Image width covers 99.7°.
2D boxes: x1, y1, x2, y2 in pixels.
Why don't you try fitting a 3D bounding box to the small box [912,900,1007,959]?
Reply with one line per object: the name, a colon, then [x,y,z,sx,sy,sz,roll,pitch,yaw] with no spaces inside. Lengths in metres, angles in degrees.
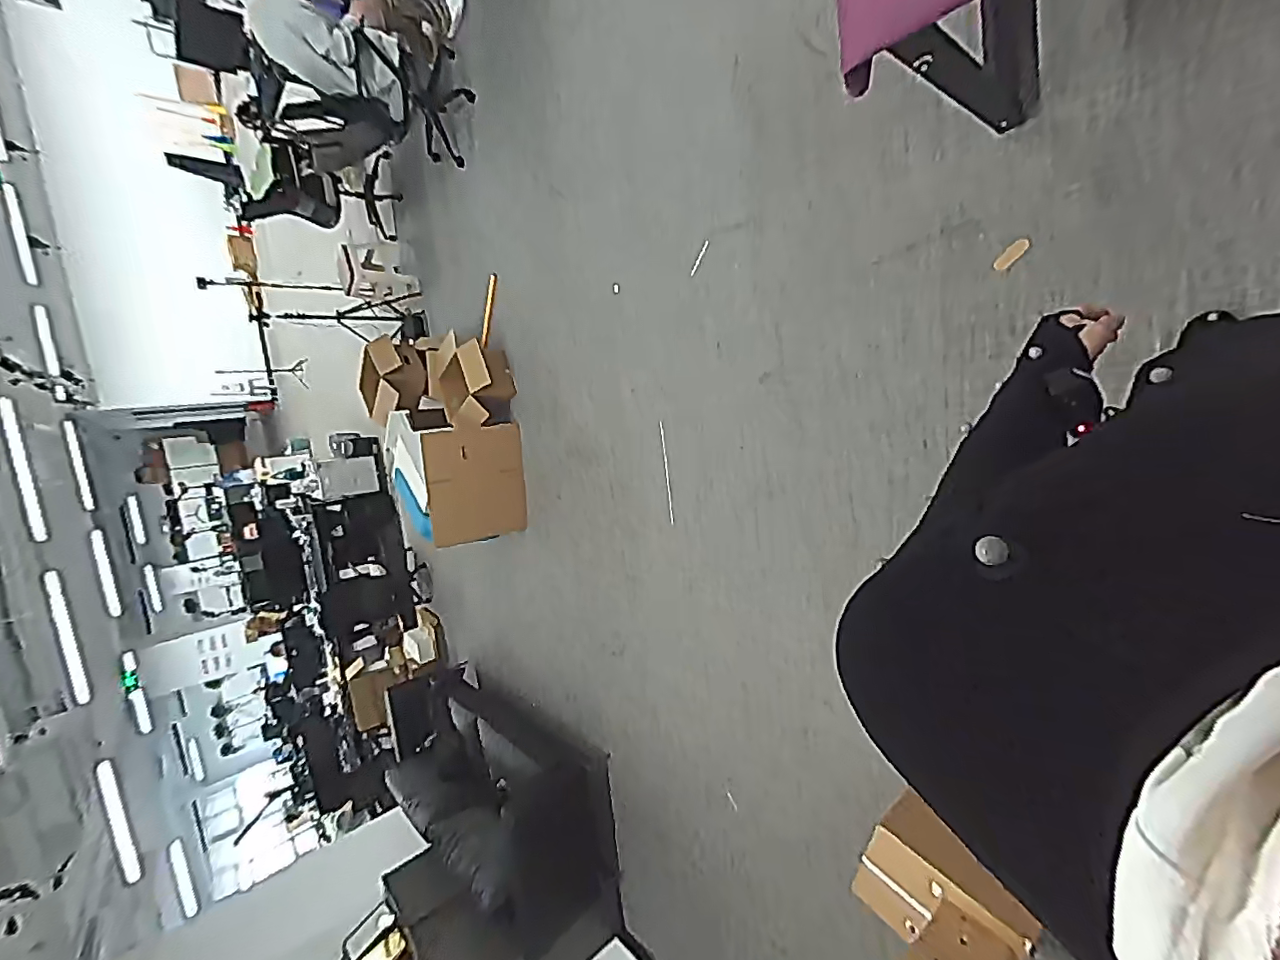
small box: [0.809,1.239,1.378,0.168,0.176,0.179,18,112,47]
